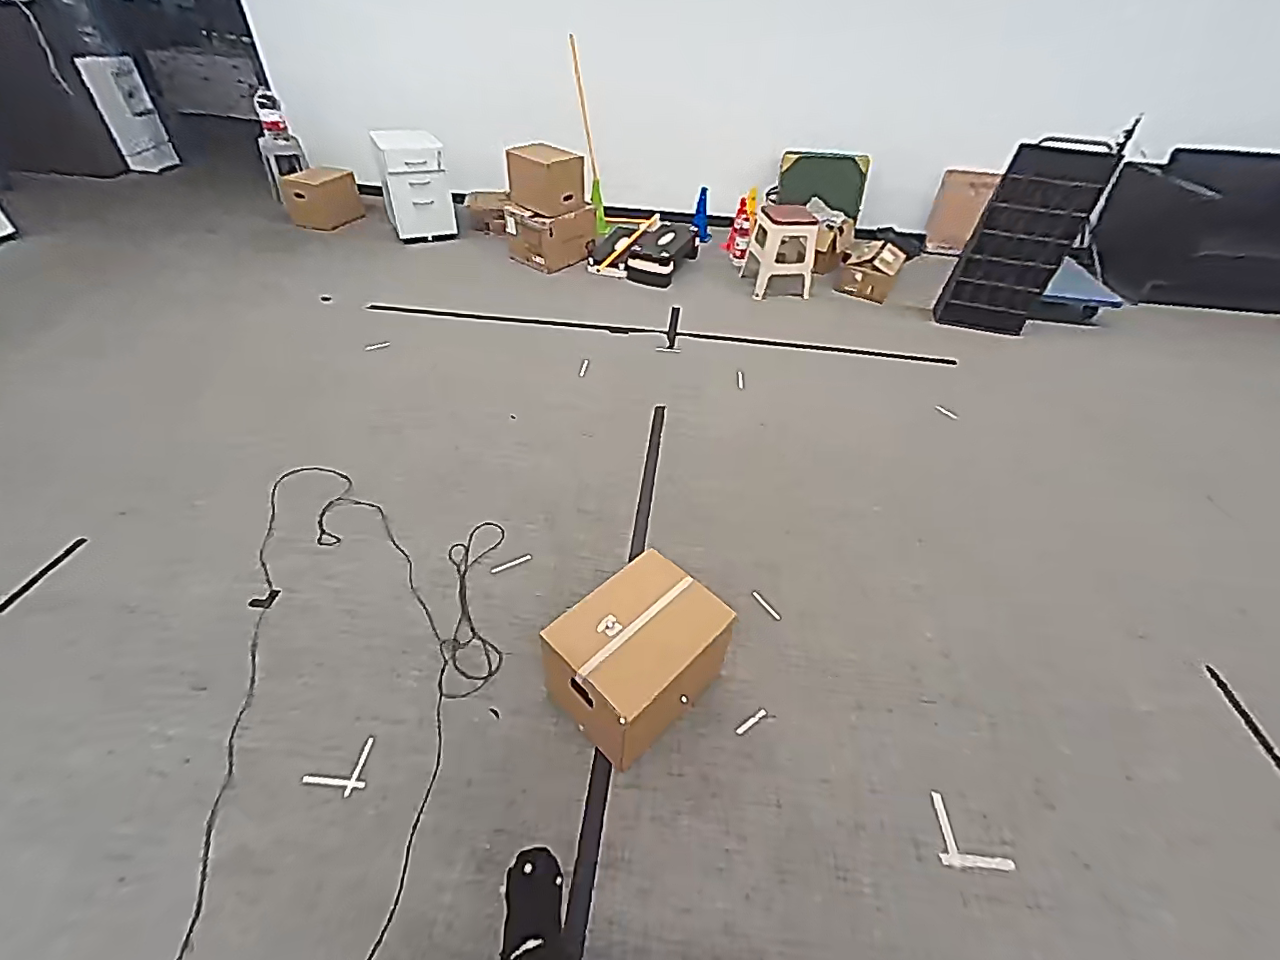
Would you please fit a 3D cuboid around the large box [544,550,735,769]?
[{"bbox_3d":[-0.002,0.475,1.468,0.320,0.320,0.408,35,52,29],"label":"large box"}]
